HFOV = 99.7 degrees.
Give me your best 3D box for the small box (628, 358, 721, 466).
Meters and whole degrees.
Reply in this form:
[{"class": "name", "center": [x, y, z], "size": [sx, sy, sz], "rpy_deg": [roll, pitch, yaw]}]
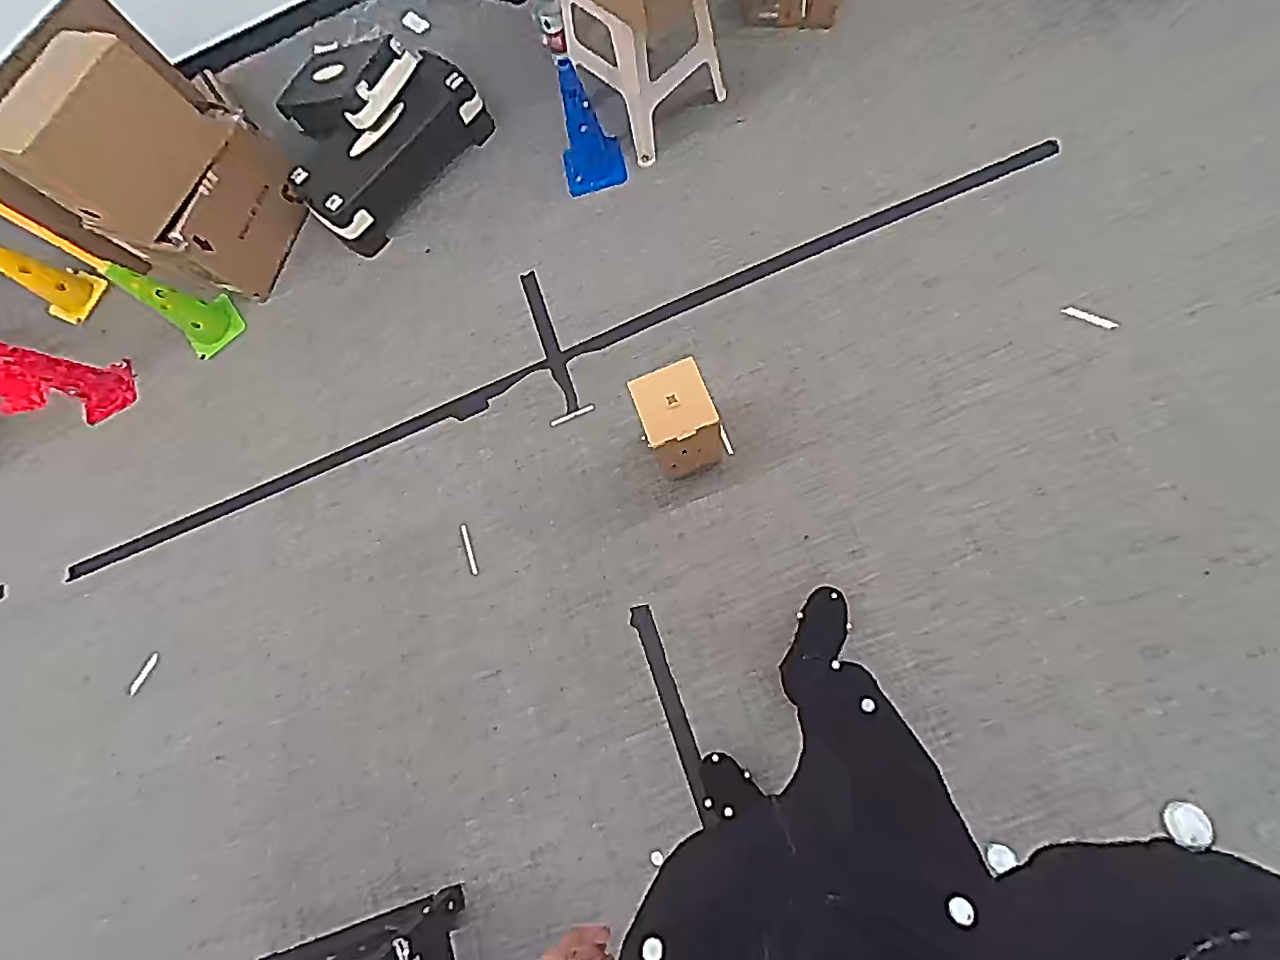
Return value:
[{"class": "small box", "center": [0.085, -0.157, 1.299], "size": [0.168, 0.176, 0.179], "rpy_deg": [-22, 73, 3]}]
